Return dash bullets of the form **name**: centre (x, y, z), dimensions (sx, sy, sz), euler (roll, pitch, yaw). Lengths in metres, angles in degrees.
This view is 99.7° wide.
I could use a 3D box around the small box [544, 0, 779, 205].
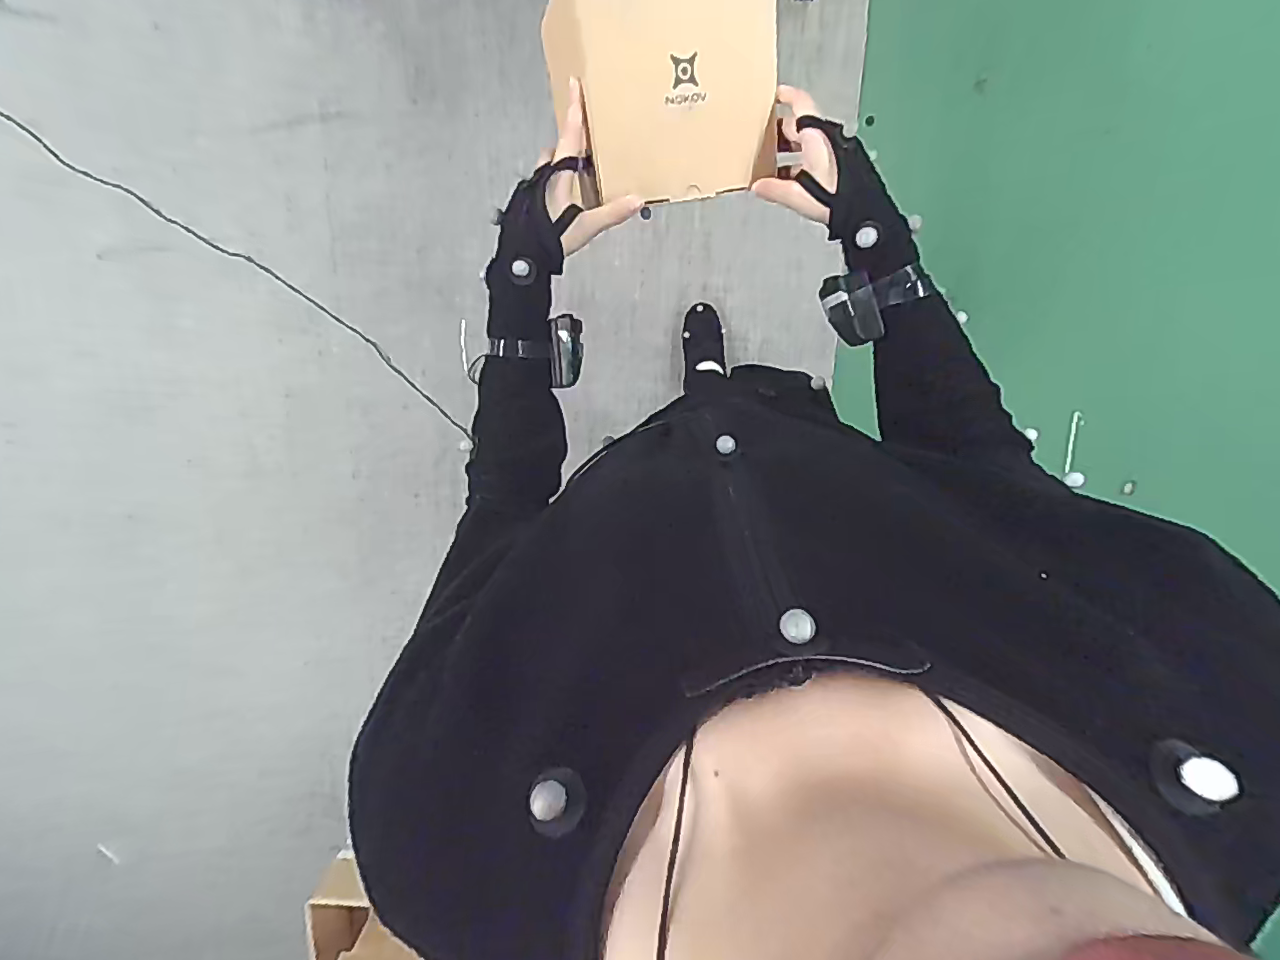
- **small box**: centre (0.013, -0.363, 0.498), dimensions (0.168, 0.176, 0.179), euler (-13, 117, -10)
